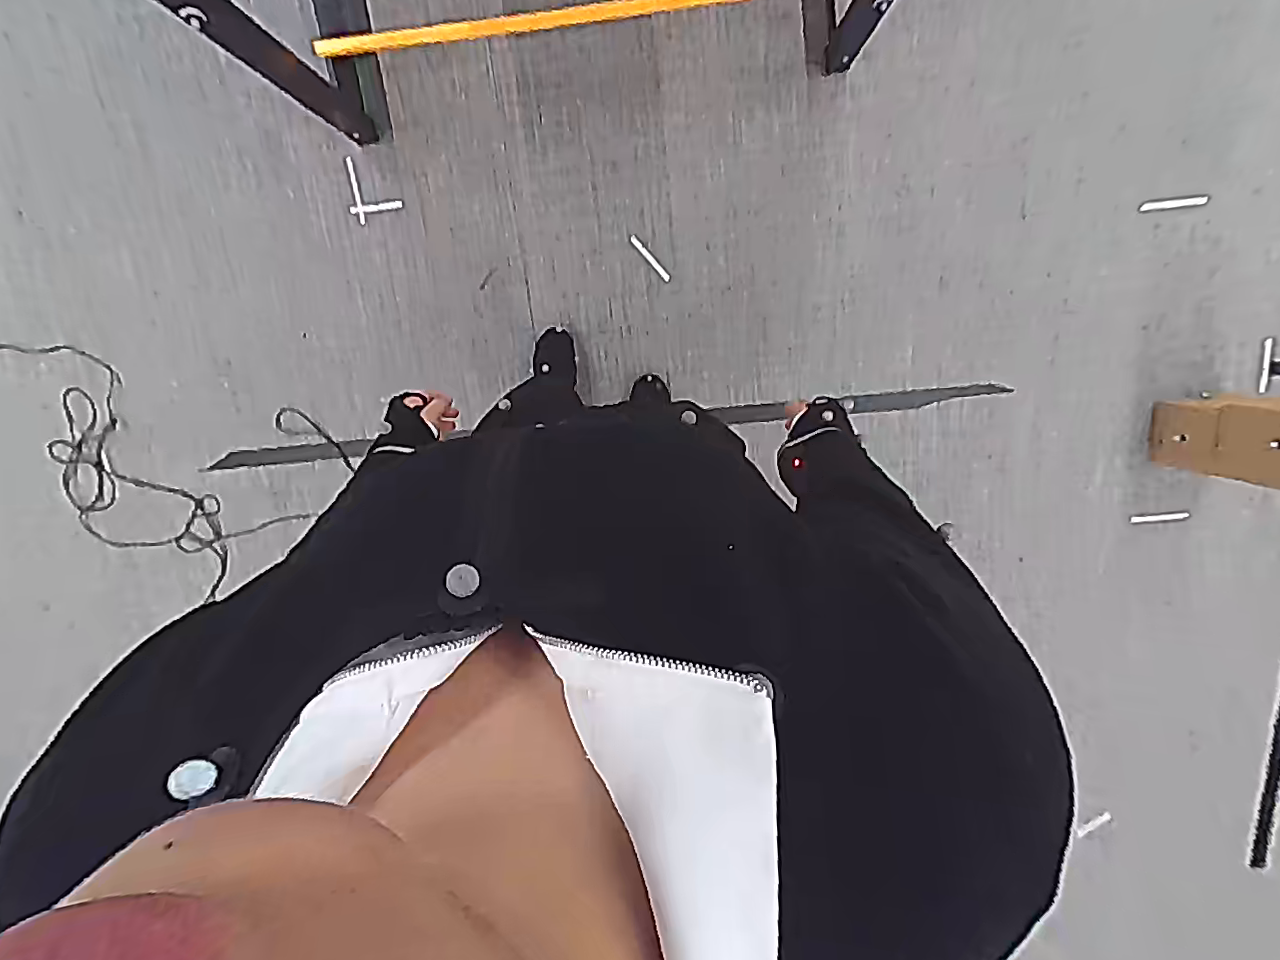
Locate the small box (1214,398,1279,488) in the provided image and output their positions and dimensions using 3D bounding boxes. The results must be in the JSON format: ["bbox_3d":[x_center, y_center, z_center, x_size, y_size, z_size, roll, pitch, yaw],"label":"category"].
[{"bbox_3d":[1.425,-0.084,1.182,0.168,0.176,0.179,-8,104,3],"label":"small box"}]

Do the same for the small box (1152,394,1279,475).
[{"bbox_3d":[1.434,-0.117,1.345,0.179,0.176,0.168,-8,103,4],"label":"small box"}]
